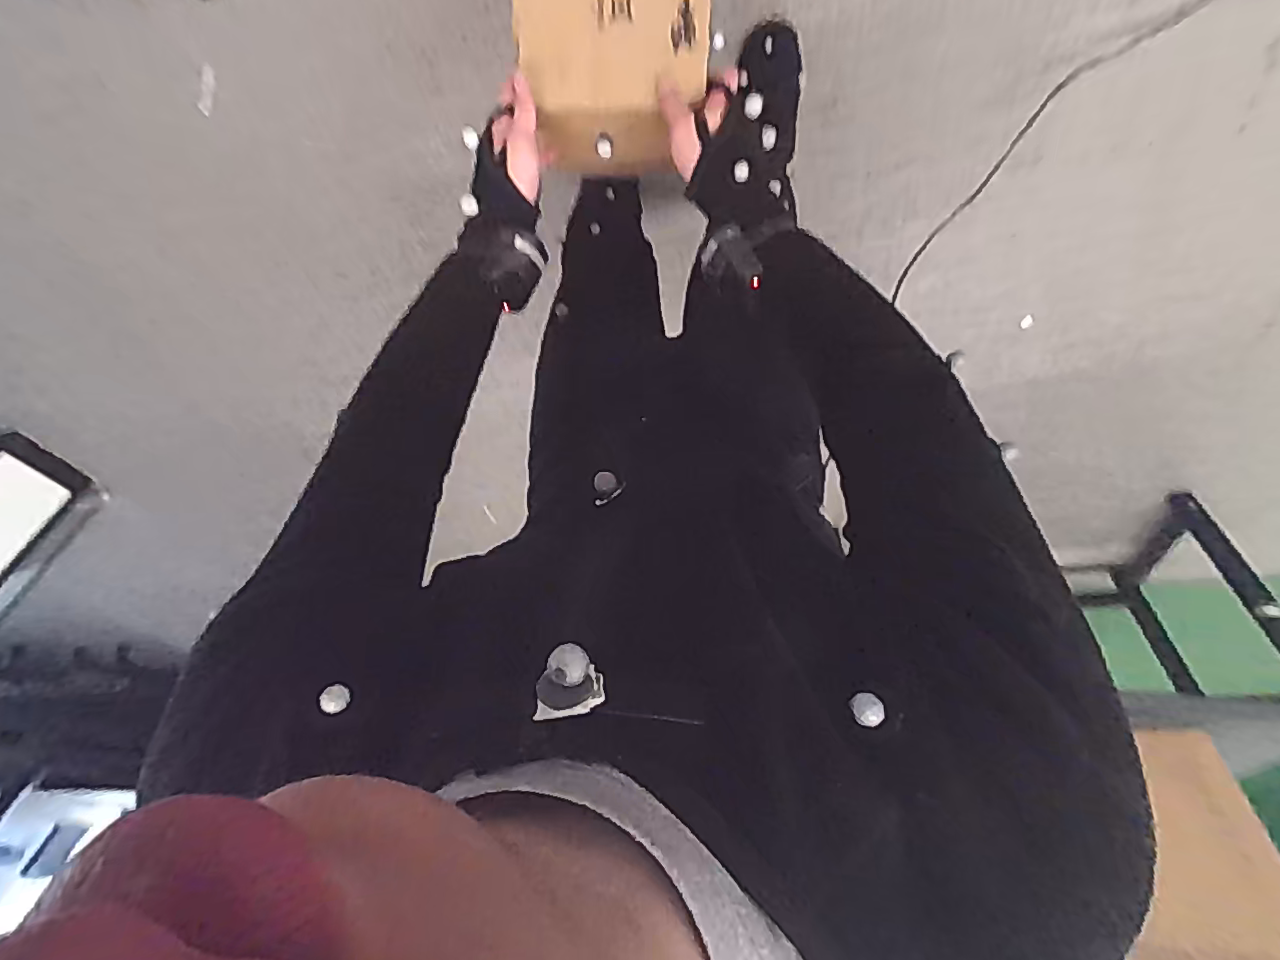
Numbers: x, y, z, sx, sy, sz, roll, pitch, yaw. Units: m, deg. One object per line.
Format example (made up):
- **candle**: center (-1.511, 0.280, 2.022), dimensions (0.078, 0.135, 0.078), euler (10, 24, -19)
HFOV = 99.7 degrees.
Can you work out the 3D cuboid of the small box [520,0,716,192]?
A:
- **small box**: center (-0.014, -0.415, 0.562), dimensions (0.179, 0.176, 0.168), euler (3, 99, 6)
